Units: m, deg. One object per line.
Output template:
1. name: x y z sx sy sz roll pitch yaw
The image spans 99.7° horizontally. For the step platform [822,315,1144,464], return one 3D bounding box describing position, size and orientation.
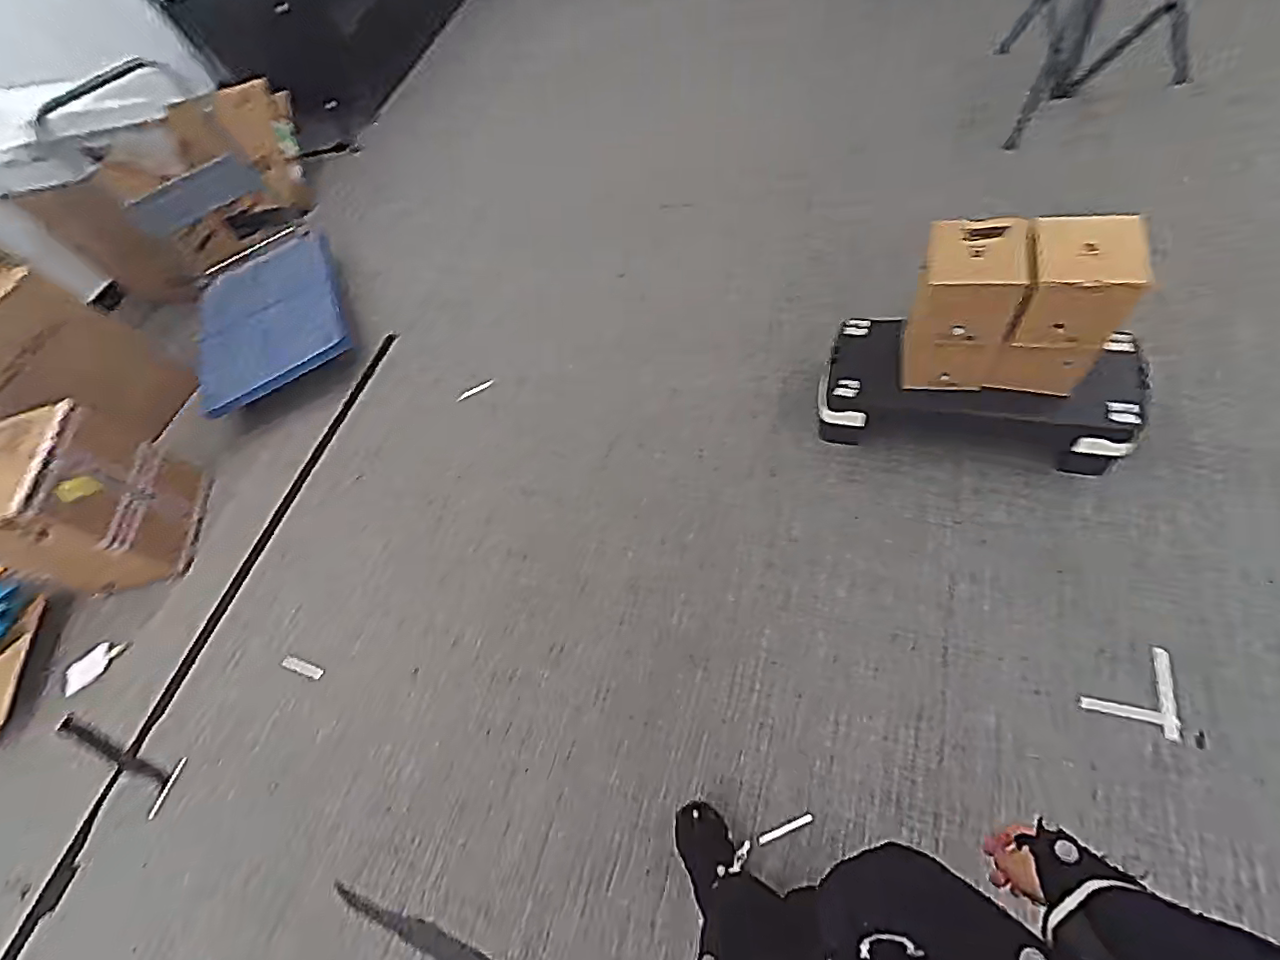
1. step platform: 0.830 -0.249 1.383 0.684 0.204 0.286 9 64 20
